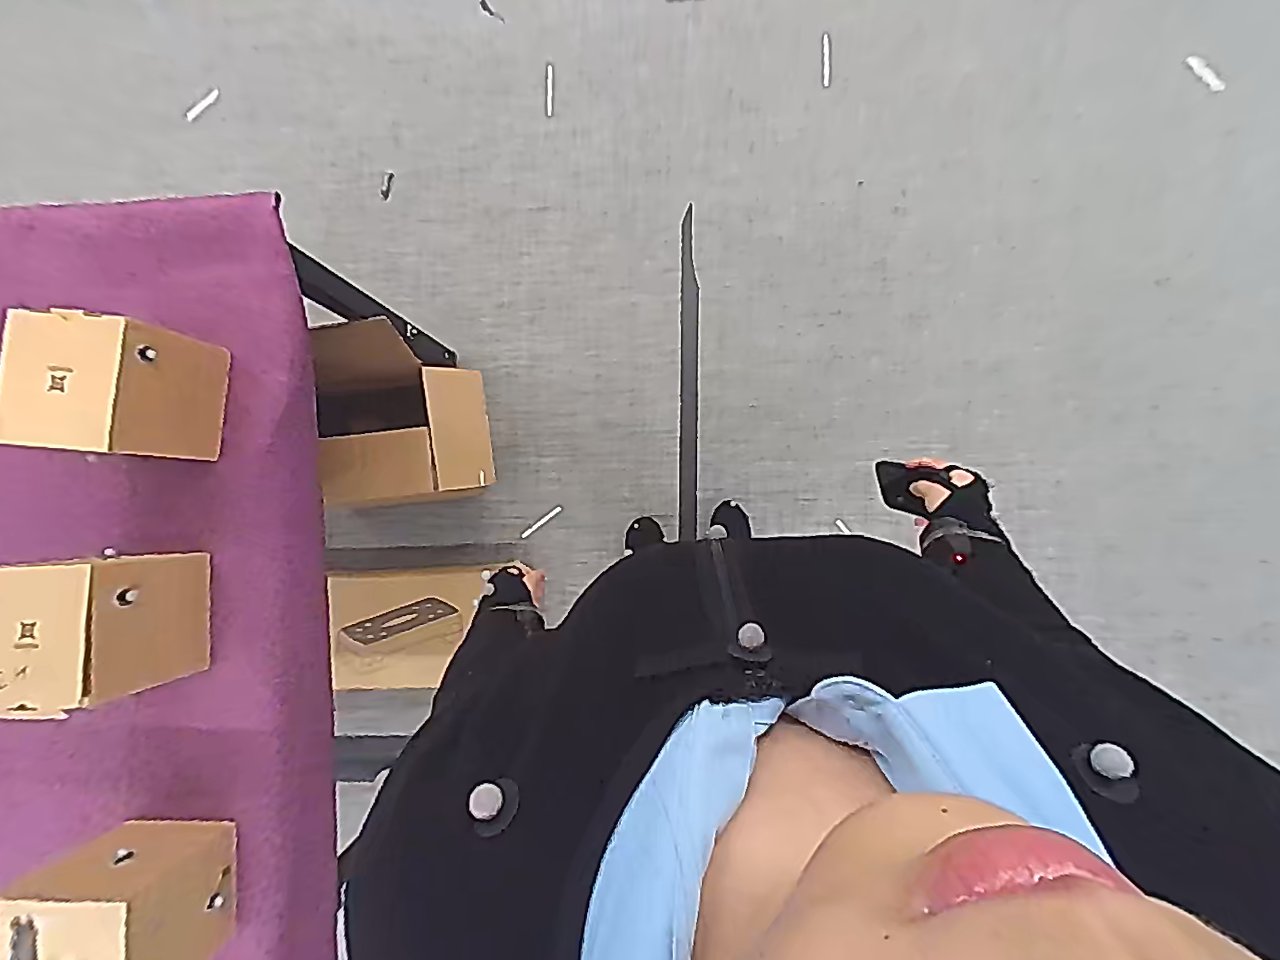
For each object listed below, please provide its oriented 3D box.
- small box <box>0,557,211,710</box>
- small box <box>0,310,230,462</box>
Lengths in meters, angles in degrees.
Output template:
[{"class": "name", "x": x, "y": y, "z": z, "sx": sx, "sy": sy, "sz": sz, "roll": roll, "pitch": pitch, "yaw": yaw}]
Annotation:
[{"class": "small box", "x": -0.732, "y": 0.198, "z": 0.741, "sx": 0.168, "sy": 0.176, "sz": 0.179, "roll": -3, "pitch": 87, "yaw": 6}, {"class": "small box", "x": -0.721, "y": -0.120, "z": 0.757, "sx": 0.168, "sy": 0.176, "sz": 0.179, "roll": 4, "pitch": 87, "yaw": 4}]
